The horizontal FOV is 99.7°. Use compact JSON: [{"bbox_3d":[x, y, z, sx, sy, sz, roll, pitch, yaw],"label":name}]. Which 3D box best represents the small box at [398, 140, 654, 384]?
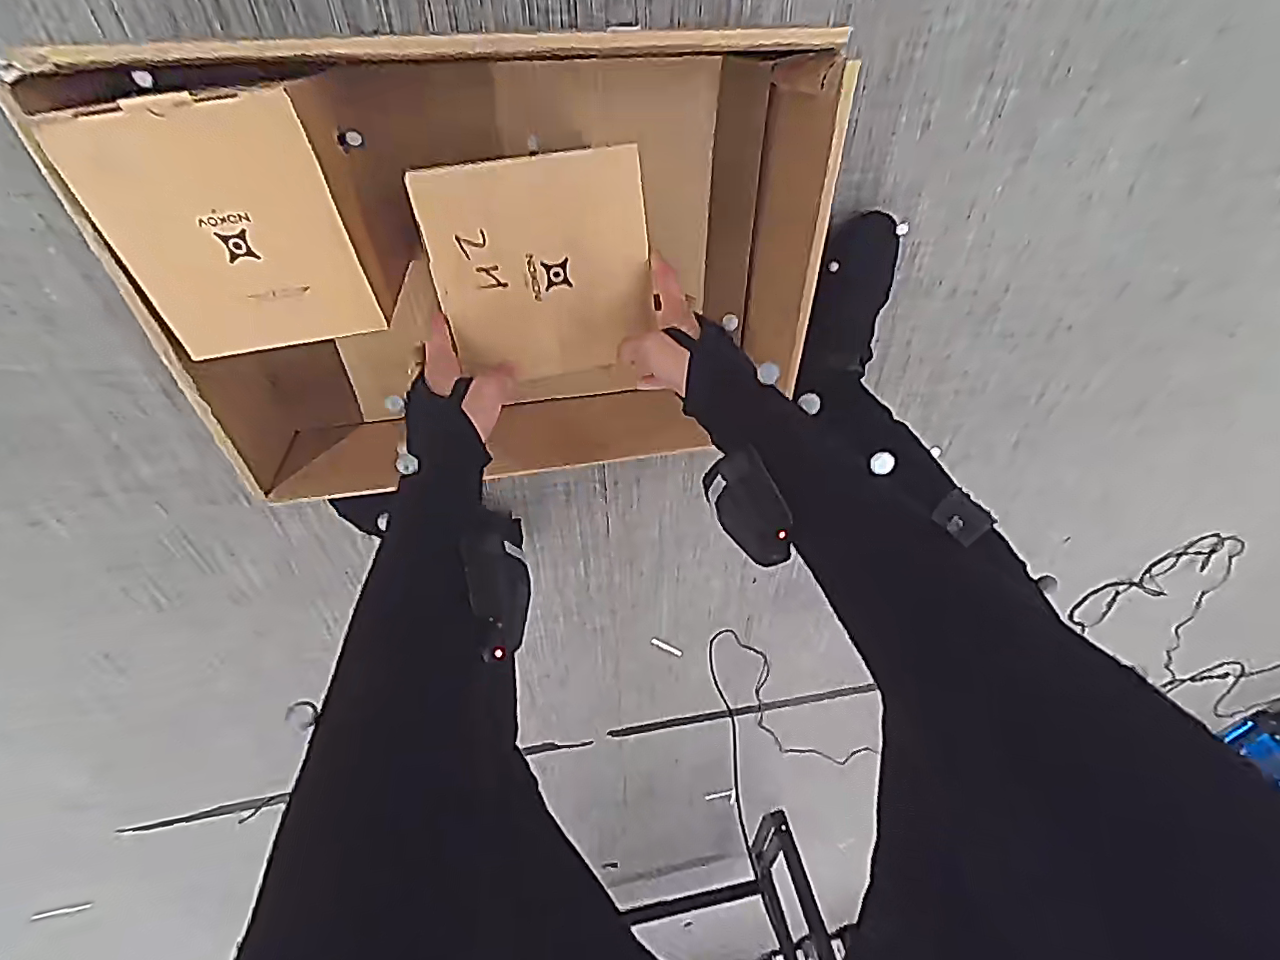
[{"bbox_3d":[-0.098,-0.205,0.495,0.179,0.176,0.168,-12,120,-8],"label":"small box"}]
